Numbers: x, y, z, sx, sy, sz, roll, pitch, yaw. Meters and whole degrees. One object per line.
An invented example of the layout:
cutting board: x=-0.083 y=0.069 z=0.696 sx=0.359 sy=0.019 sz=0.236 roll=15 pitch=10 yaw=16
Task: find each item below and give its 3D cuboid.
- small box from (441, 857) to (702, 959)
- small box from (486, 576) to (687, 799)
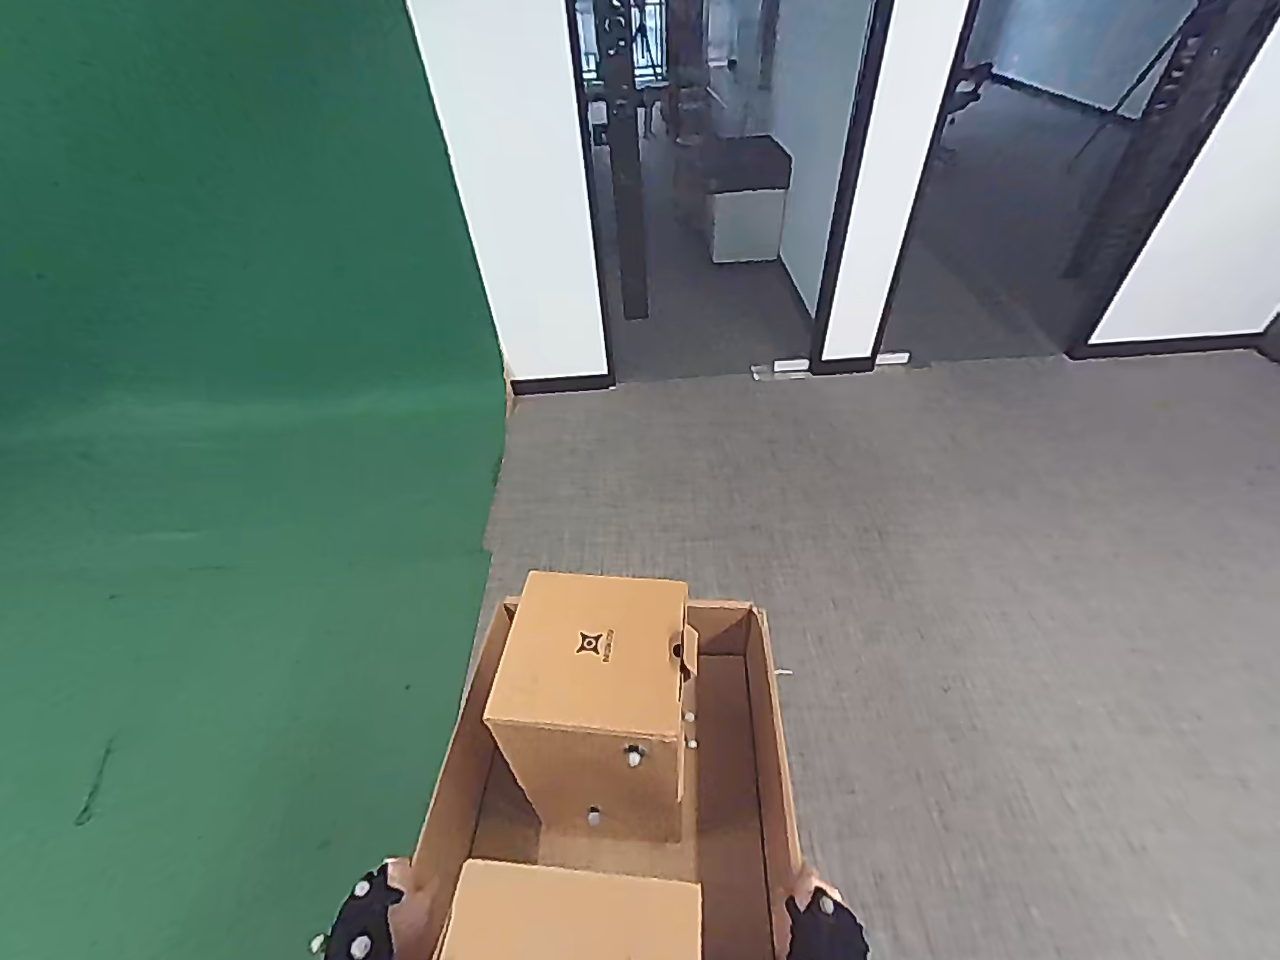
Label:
small box: x=-0.046 y=0.398 z=0.388 sx=0.179 sy=0.176 sz=0.168 roll=2 pitch=42 yaw=5
small box: x=-0.041 y=0.223 z=0.583 sx=0.179 sy=0.176 sz=0.168 roll=3 pitch=43 yaw=5
